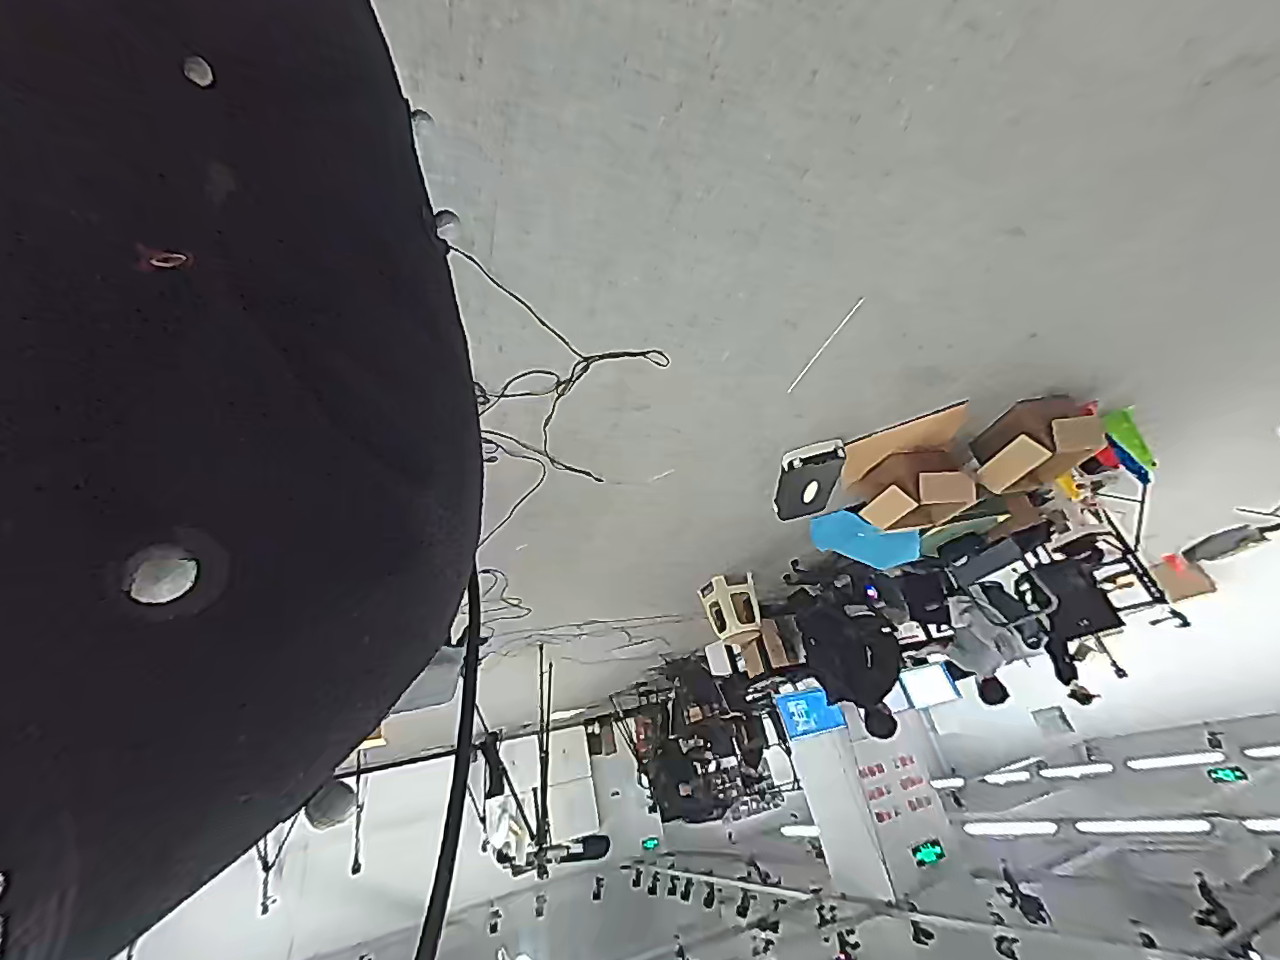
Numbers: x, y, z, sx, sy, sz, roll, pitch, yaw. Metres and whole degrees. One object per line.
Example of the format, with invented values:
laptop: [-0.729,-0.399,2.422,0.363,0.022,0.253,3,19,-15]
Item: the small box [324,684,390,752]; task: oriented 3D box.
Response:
small box: [-0.926,0.781,1.780,0.179,0.176,0.168,-1,150,-21]
